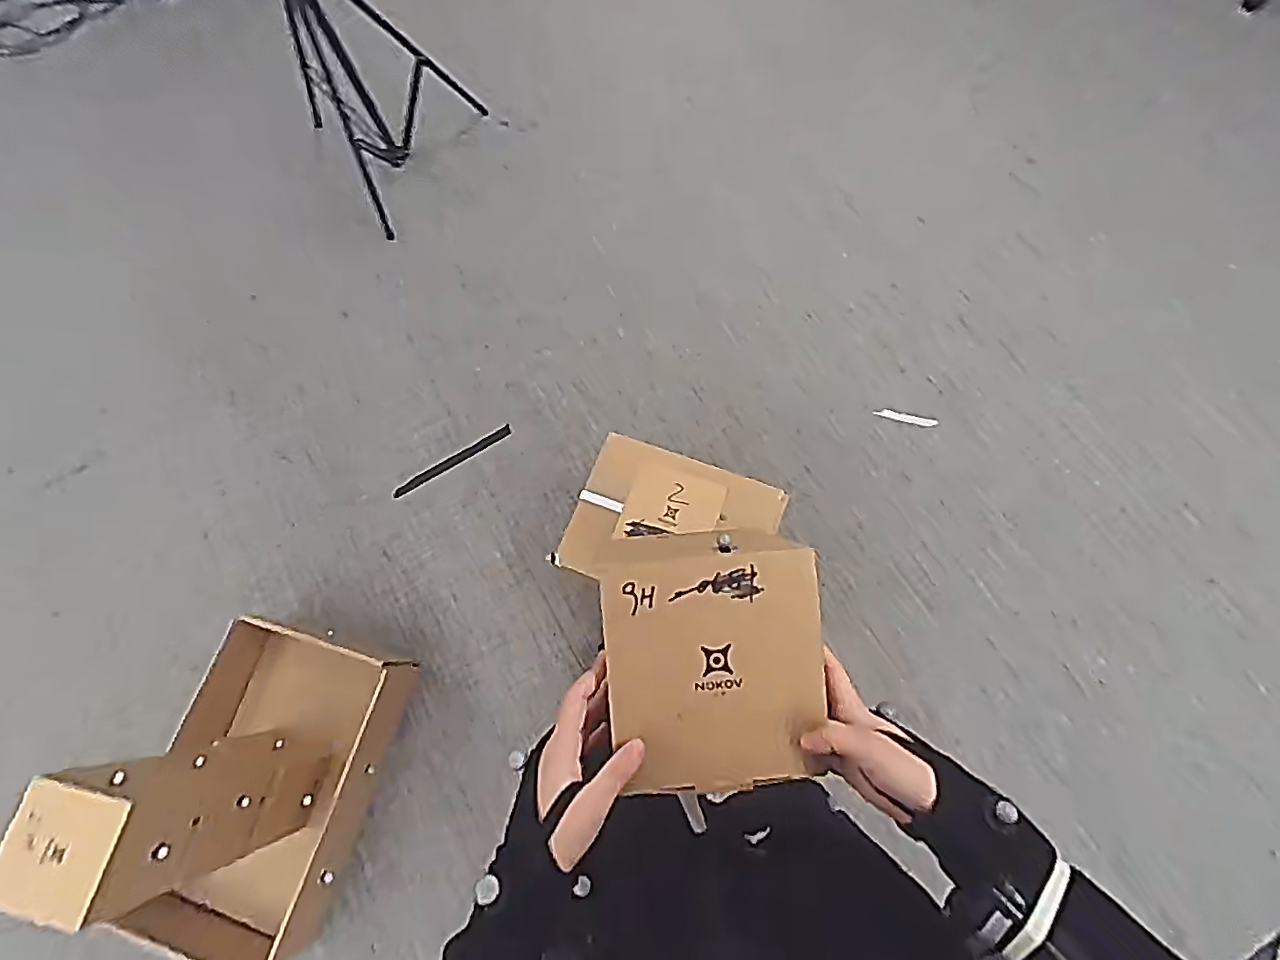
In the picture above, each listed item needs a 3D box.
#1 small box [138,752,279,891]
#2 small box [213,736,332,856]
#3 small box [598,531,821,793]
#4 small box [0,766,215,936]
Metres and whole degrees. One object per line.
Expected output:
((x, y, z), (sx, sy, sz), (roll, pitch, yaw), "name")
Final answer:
((-0.834, 0.627, 1.017), (0.179, 0.176, 0.168), (10, 72, 7), "small box")
((-0.822, 0.671, 1.173), (0.179, 0.176, 0.168), (15, 74, 7), "small box")
((0.052, 0.146, 0.491), (0.168, 0.176, 0.179), (-4, 91, -3), "small box")
((-0.841, 0.572, 0.862), (0.179, 0.176, 0.168), (10, 72, 6), "small box")
